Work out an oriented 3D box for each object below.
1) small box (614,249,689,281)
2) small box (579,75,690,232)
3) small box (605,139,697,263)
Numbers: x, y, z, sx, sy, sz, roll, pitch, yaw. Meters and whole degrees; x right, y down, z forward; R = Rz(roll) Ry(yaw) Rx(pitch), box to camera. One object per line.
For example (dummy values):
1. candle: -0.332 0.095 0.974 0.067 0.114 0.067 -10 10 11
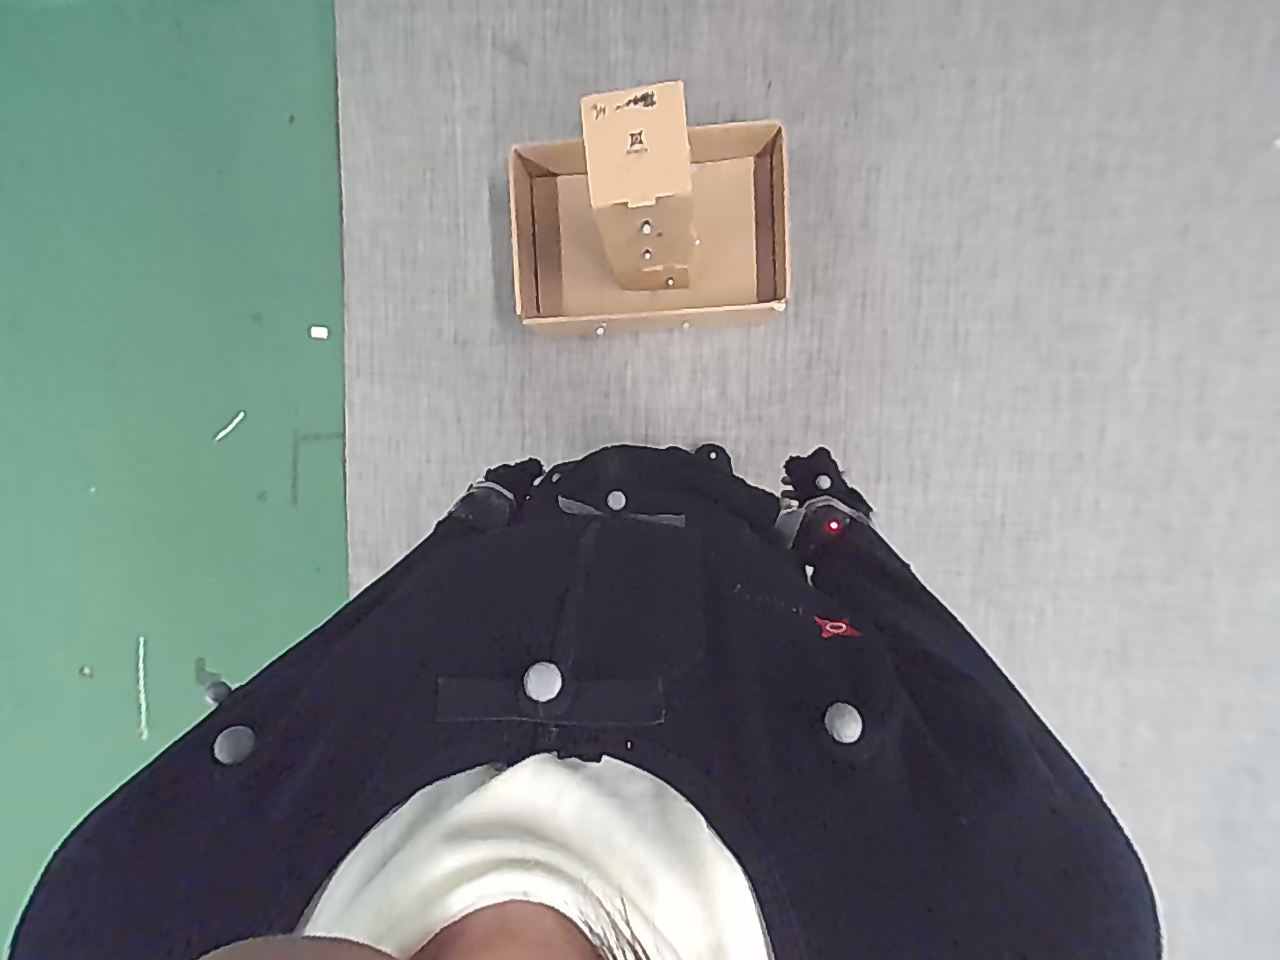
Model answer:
1. small box: 0.030 -0.572 1.259 0.168 0.176 0.179 -1 93 5
2. small box: -0.001 -0.545 0.935 0.168 0.176 0.179 -5 95 6
3. small box: 0.018 -0.556 1.097 0.179 0.176 0.168 -6 95 4
